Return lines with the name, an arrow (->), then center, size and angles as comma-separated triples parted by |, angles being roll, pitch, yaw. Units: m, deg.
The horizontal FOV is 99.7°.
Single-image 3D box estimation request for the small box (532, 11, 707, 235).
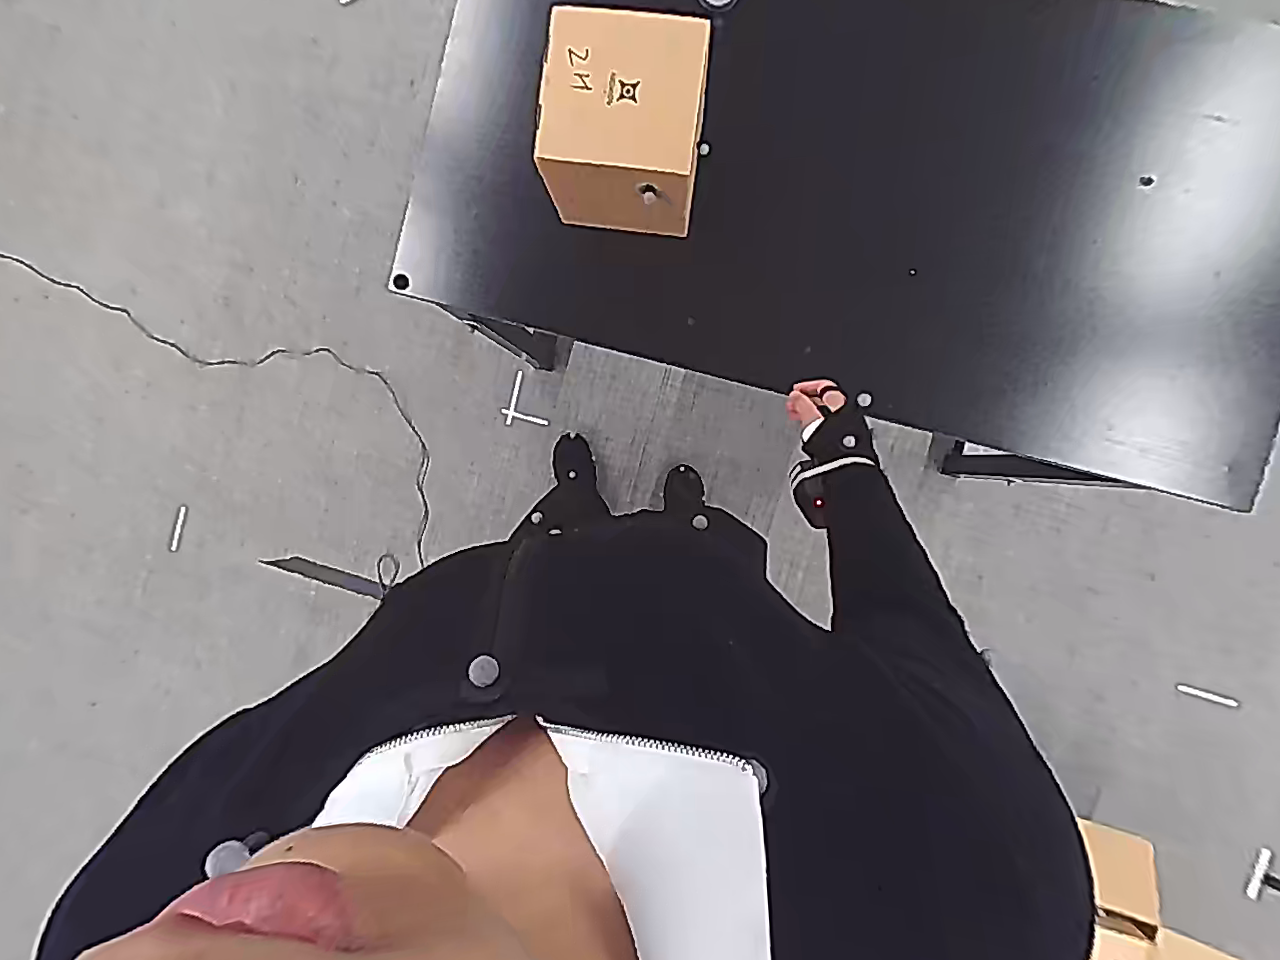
small box -> -0.020, -0.424, 0.672 | 0.179, 0.176, 0.168 | 8, 93, 3
